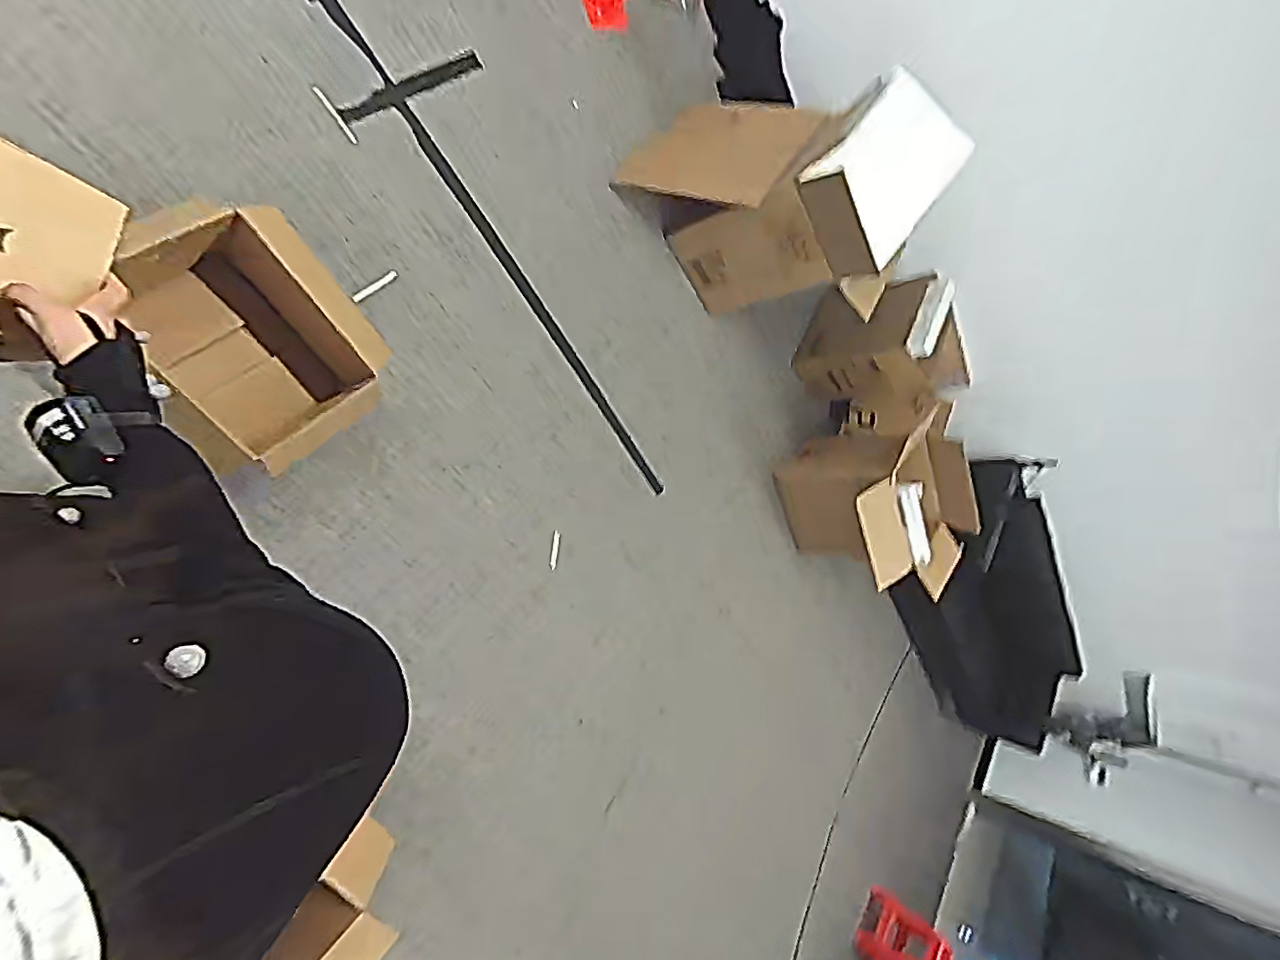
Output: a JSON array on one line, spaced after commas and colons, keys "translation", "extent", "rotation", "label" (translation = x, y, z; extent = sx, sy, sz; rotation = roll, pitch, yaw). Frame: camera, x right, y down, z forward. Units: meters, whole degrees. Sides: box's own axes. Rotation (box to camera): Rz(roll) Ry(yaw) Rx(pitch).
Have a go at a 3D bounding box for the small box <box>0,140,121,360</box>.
[{"translation": [-0.627, -0.214, 0.474], "extent": [0.179, 0.176, 0.168], "rotation": [25, 70, -65], "label": "small box"}]
